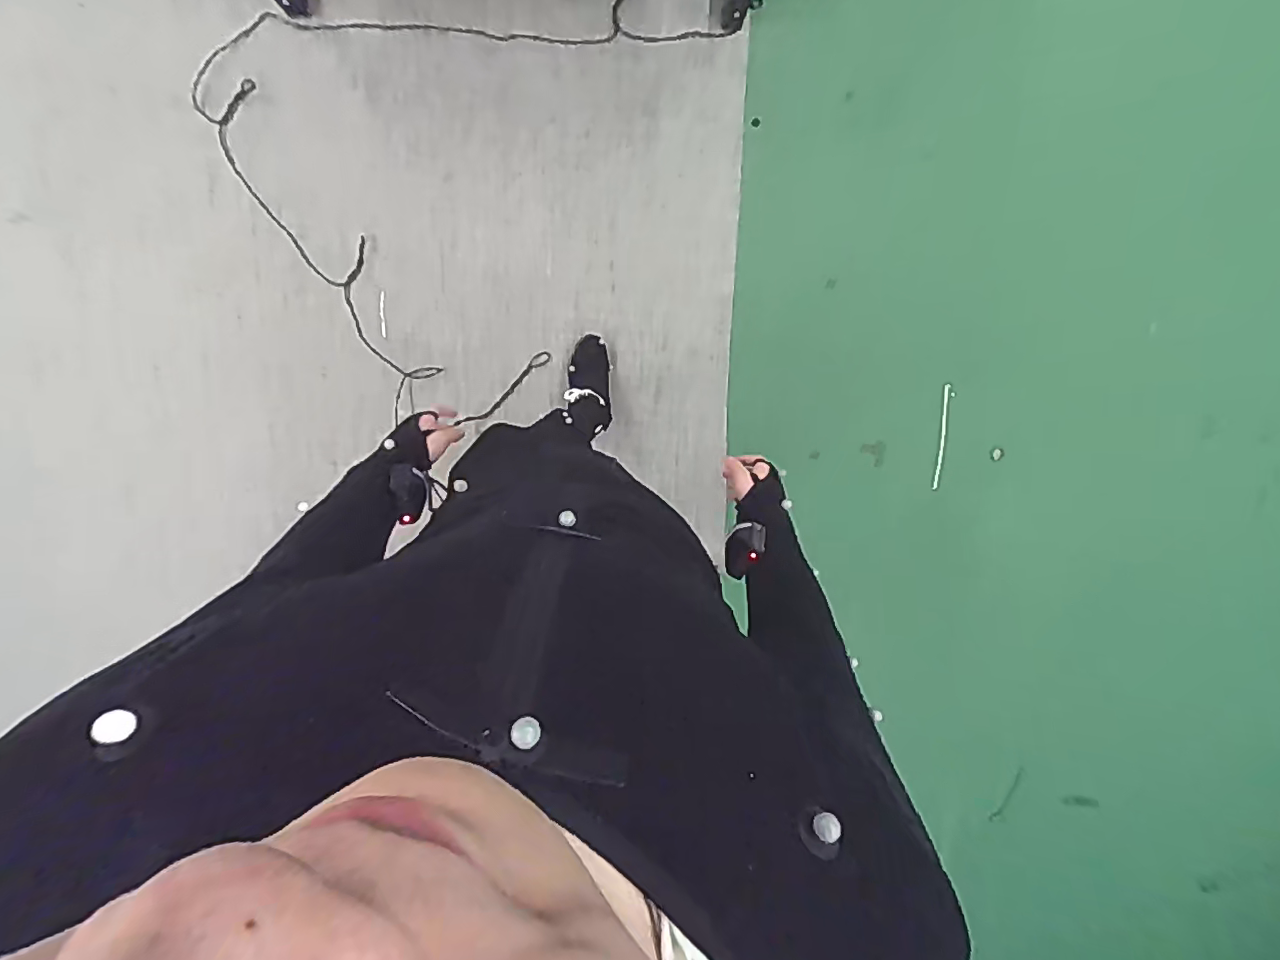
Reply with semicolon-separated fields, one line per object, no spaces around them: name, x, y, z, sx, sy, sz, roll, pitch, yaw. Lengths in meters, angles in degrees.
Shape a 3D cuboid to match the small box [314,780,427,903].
small box;-0.595;0.801;1.211;0.179;0.176;0.168;2;100;-4
